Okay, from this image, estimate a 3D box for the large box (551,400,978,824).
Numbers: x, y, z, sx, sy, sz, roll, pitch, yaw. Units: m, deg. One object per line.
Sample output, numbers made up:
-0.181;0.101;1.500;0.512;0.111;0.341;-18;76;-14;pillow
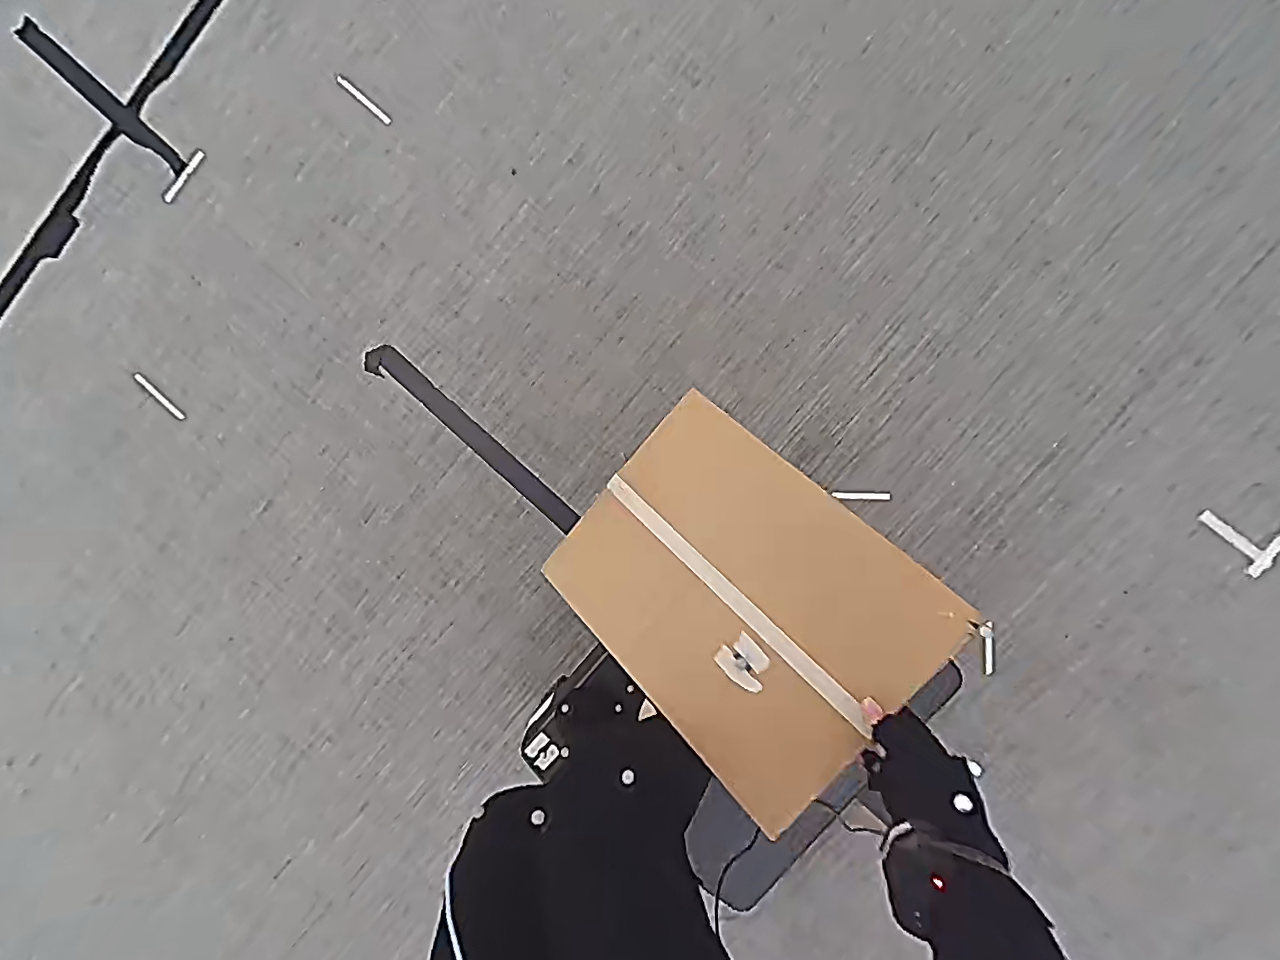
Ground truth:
0.162;0.157;0.763;0.408;0.320;0.320;43;97;26;large box
